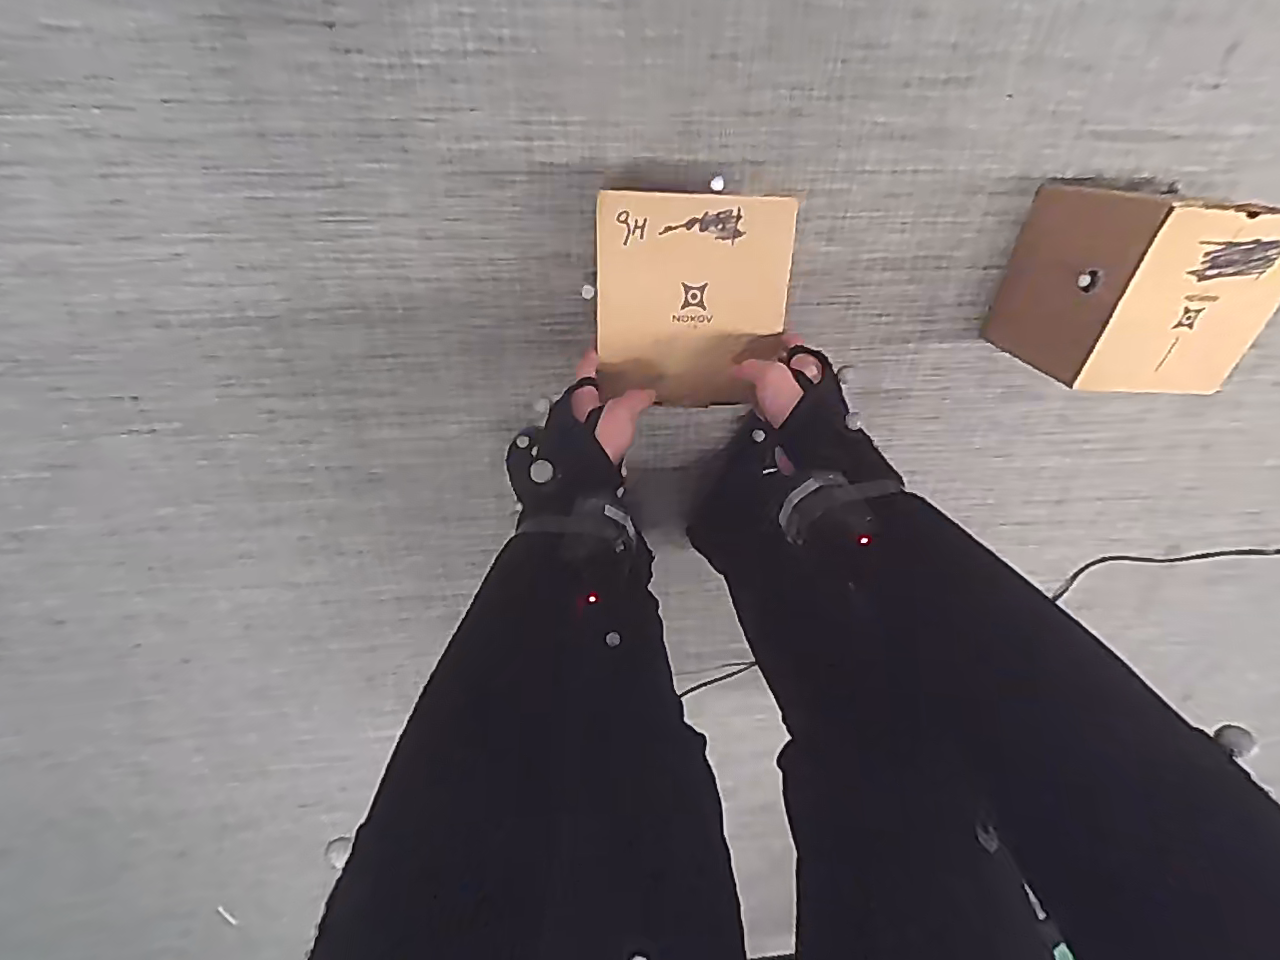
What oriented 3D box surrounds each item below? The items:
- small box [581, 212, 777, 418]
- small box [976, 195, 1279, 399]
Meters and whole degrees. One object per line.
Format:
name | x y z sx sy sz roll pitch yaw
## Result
small box | 0.029 -0.173 0.551 0.168 0.176 0.179 0 114 -3
small box | 0.513 -0.204 0.592 0.168 0.176 0.179 1 125 -4
